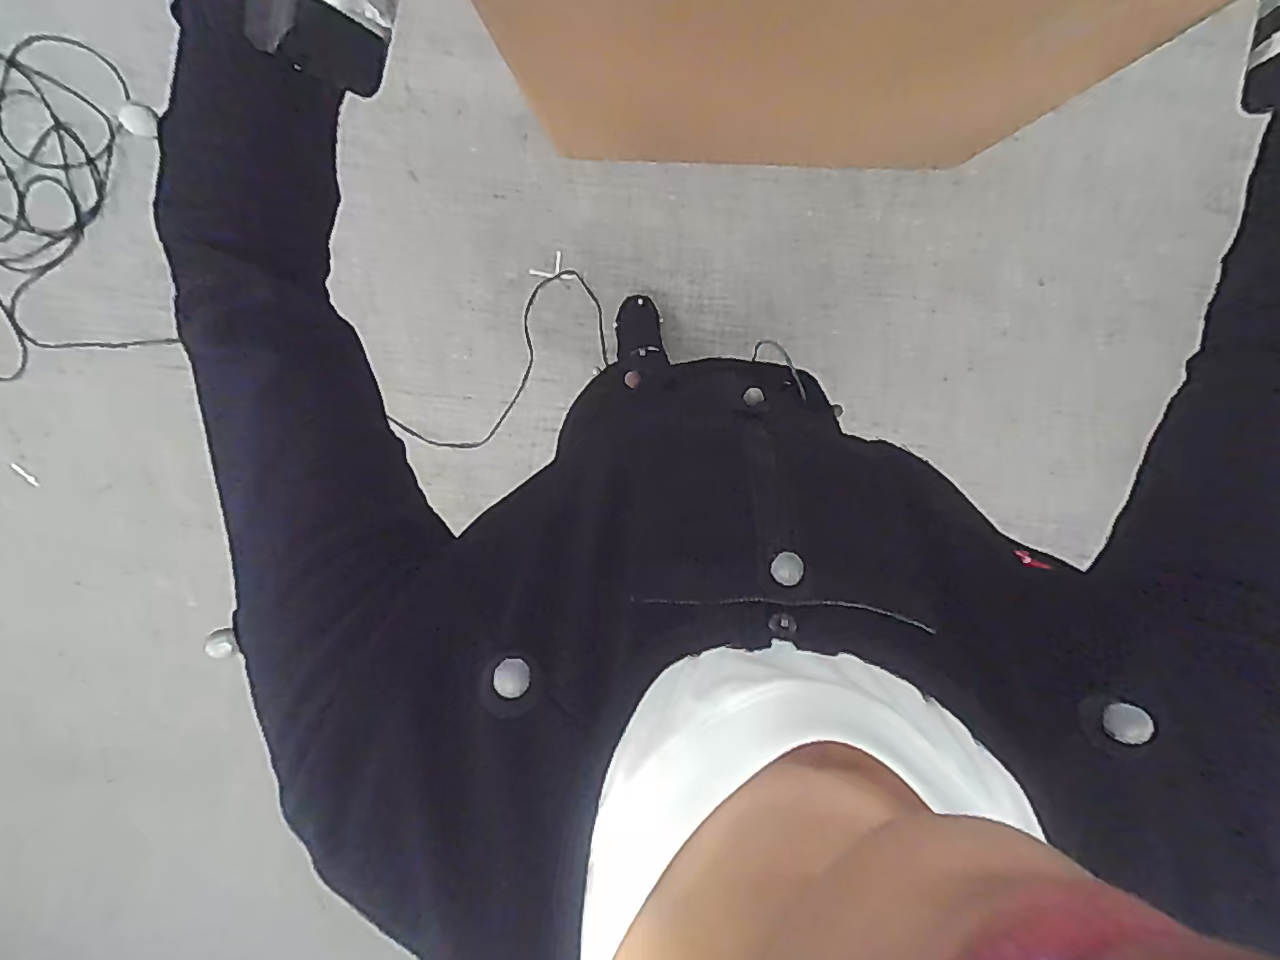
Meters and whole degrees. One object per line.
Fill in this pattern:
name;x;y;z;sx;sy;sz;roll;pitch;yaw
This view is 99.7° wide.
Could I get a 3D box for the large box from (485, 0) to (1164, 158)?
large box;0.109;-0.442;0.370;0.408;0.320;0.320;2;105;2
